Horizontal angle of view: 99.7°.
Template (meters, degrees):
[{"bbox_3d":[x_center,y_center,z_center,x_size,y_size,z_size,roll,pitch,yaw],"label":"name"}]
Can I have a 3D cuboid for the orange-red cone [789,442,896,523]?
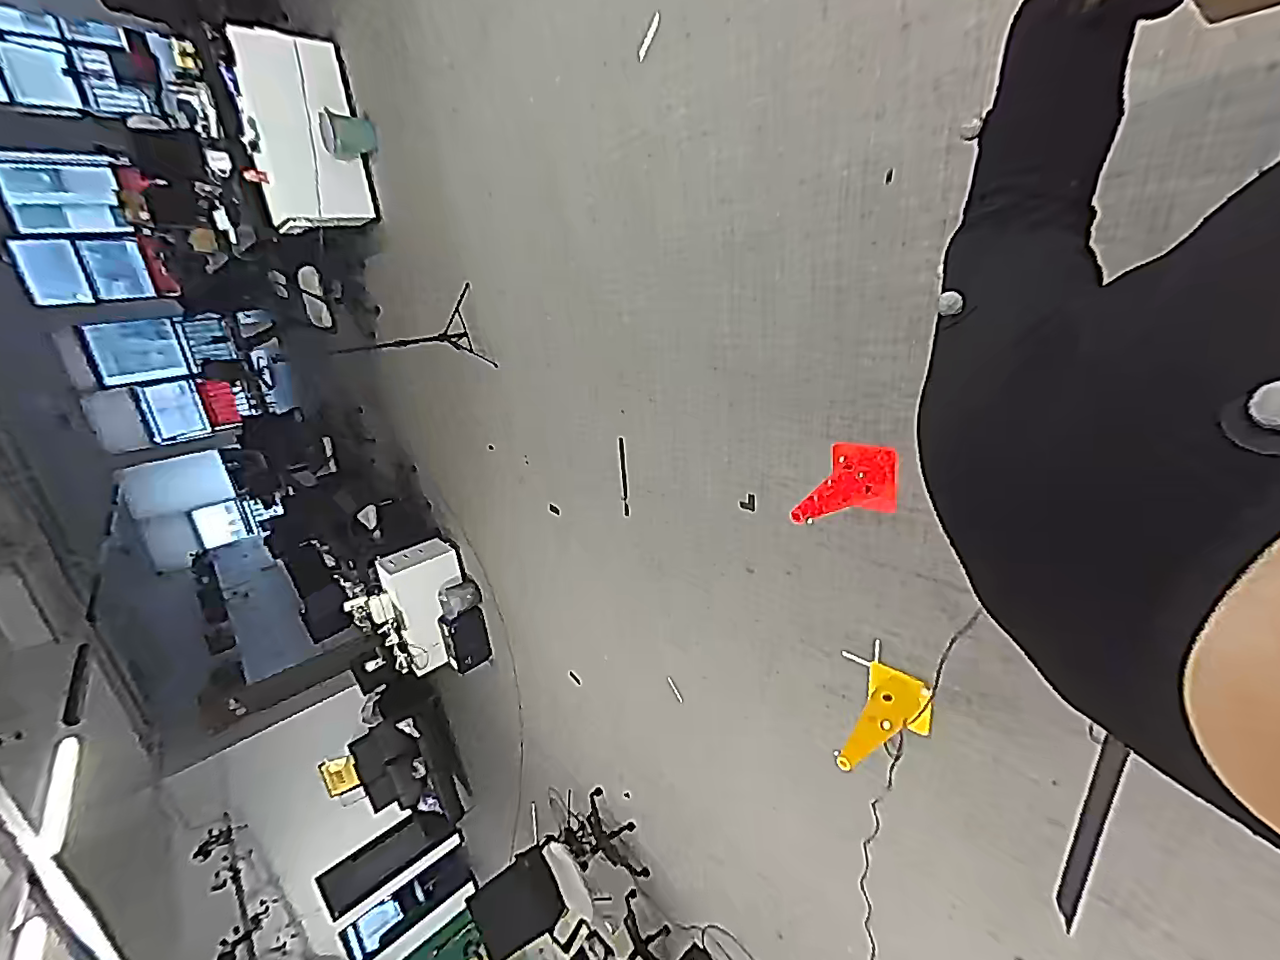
[{"bbox_3d":[0.538,0.043,1.514,0.198,0.360,0.199,15,120,48],"label":"orange-red cone"}]
